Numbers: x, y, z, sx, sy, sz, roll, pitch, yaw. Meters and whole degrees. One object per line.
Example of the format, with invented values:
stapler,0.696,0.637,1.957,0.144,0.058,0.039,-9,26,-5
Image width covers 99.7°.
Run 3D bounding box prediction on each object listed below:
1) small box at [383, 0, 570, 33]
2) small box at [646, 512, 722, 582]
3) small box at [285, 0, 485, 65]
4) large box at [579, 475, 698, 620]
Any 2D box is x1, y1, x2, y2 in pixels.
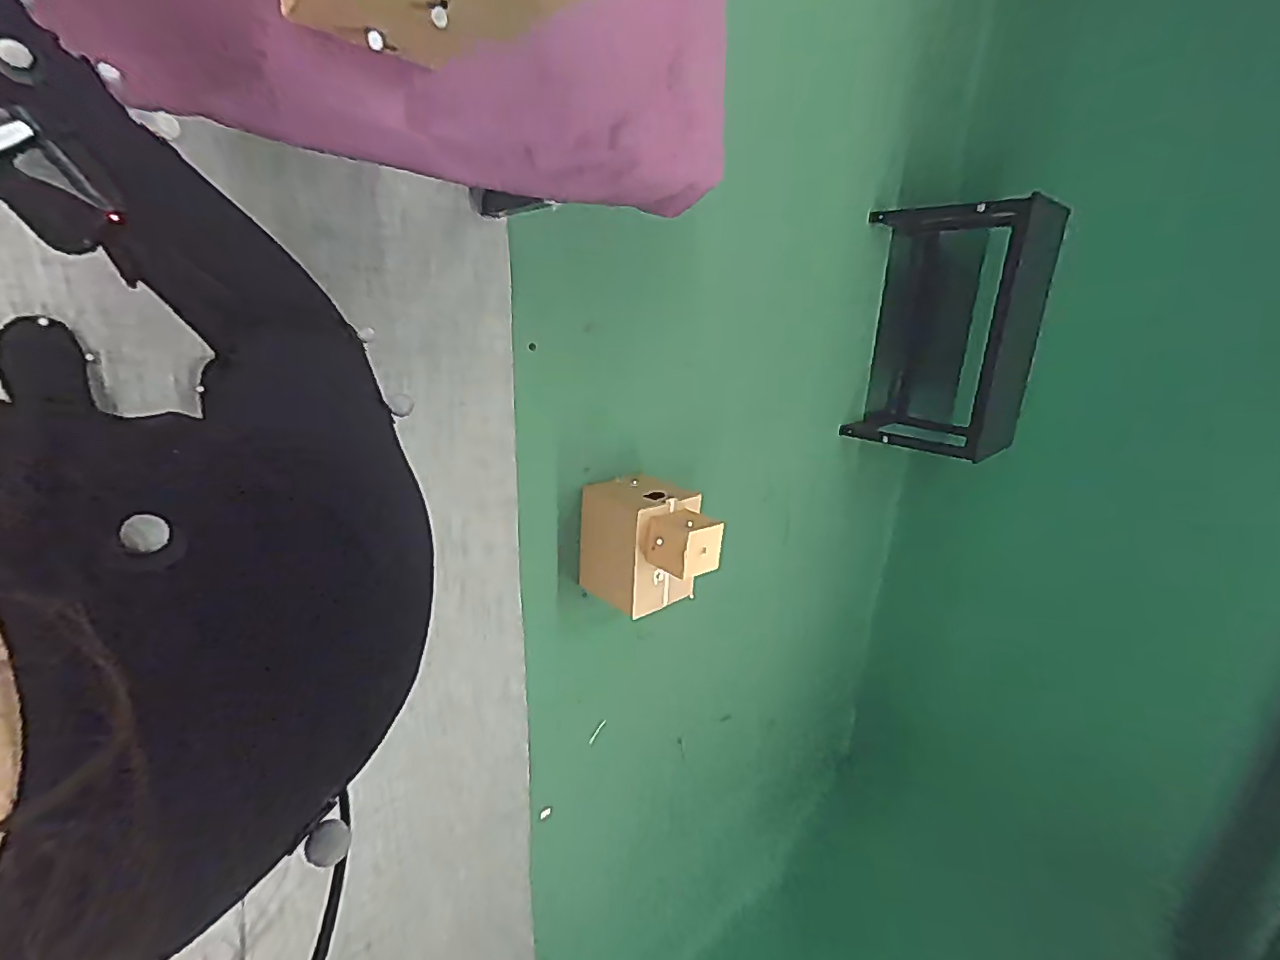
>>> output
small box,-0.150,-0.489,0.422,0.179,0.176,0.168,-16,115,-40
small box,0.145,0.213,1.790,0.179,0.176,0.168,-9,111,-41
small box,-0.254,-0.557,0.532,0.168,0.176,0.179,-12,113,-41
large box,-0.014,0.229,1.990,0.320,0.320,0.408,-12,113,-41
